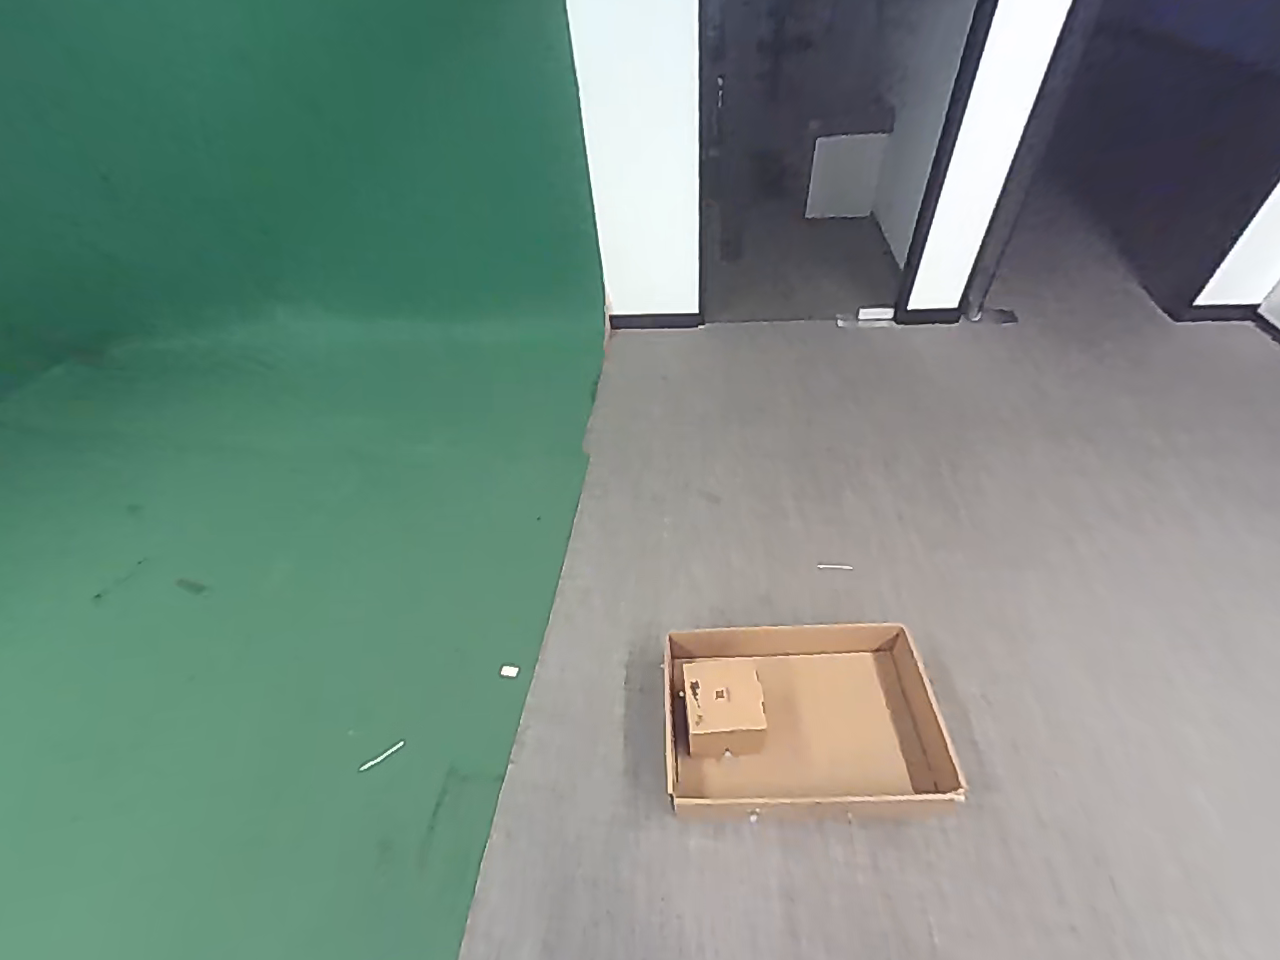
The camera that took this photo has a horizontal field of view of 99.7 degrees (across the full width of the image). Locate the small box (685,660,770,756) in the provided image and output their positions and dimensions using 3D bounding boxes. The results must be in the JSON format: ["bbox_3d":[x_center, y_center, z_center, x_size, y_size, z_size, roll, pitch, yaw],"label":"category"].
[{"bbox_3d":[0.203,0.553,1.311,0.179,0.176,0.168,-4,45,1],"label":"small box"}]
